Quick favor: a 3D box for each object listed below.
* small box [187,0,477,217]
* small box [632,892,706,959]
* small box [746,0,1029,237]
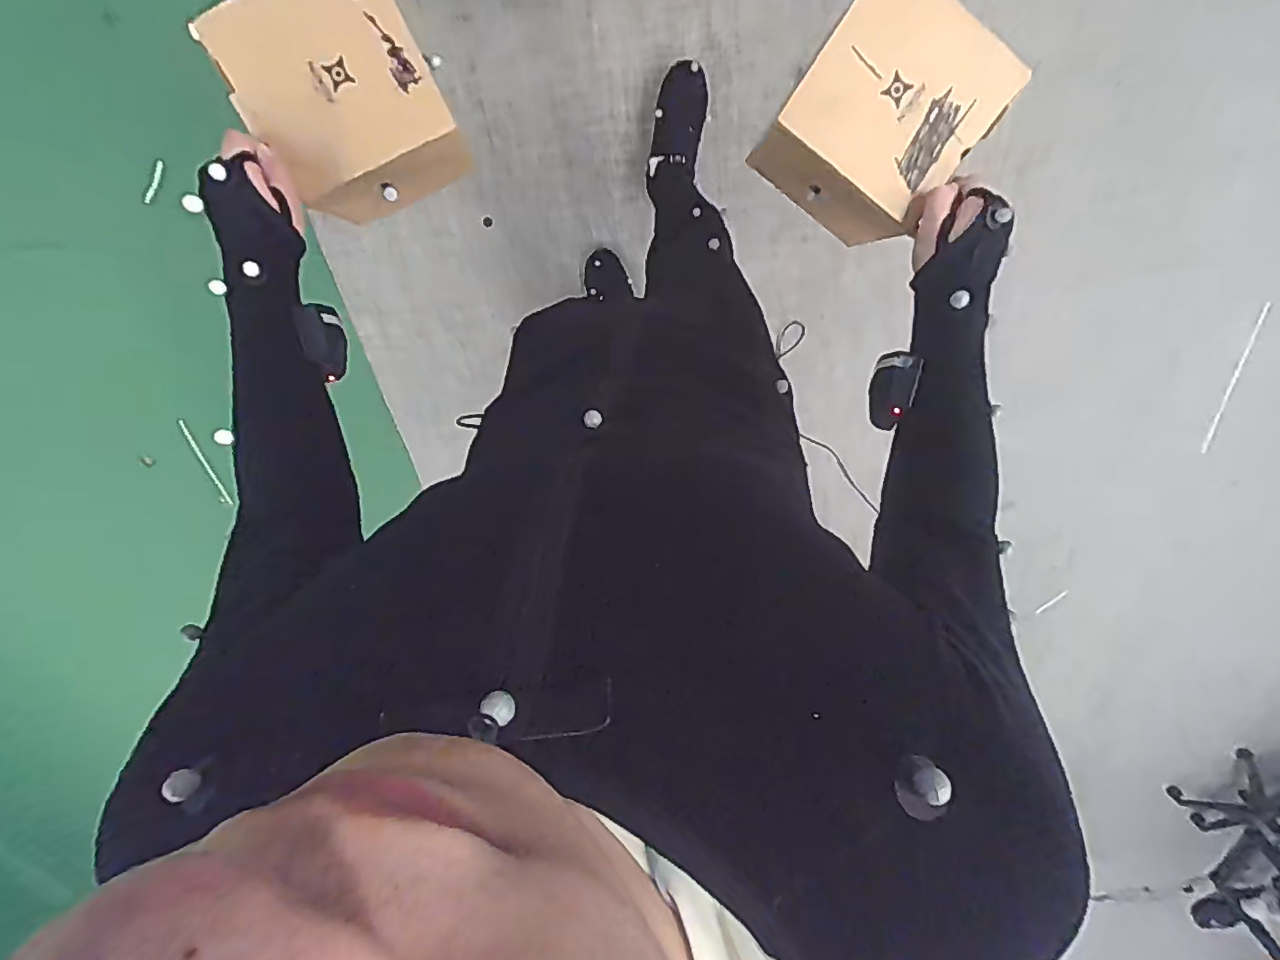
[{"bbox_3d":[-0.297,-0.401,0.571,0.179,0.176,0.168,-24,109,1],"label":"small box"},{"bbox_3d":[0.072,1.134,1.319,0.168,0.176,0.179,-7,122,4],"label":"small box"},{"bbox_3d":[0.239,-0.379,0.570,0.179,0.176,0.168,33,105,-11],"label":"small box"}]
